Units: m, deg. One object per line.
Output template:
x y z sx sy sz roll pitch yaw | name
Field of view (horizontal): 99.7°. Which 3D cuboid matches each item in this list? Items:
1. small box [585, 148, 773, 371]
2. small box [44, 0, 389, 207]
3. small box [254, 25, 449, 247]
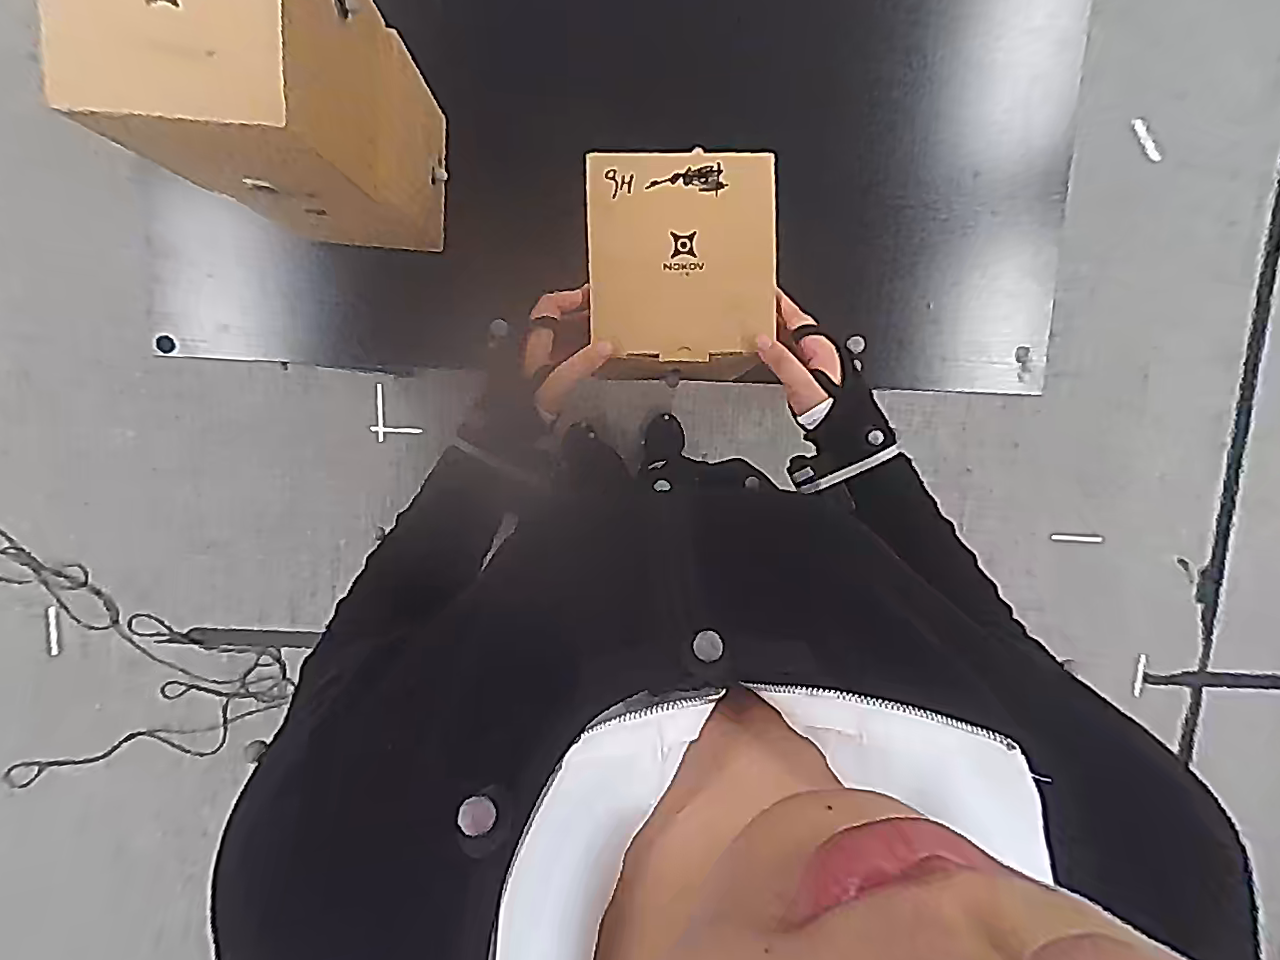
0.033 -0.206 0.553 0.168 0.176 0.179 -2 94 -2 | small box
-0.327 -0.355 0.451 0.168 0.176 0.179 2 98 -2 | small box
-0.332 -0.377 0.612 0.179 0.176 0.168 3 97 -4 | small box
